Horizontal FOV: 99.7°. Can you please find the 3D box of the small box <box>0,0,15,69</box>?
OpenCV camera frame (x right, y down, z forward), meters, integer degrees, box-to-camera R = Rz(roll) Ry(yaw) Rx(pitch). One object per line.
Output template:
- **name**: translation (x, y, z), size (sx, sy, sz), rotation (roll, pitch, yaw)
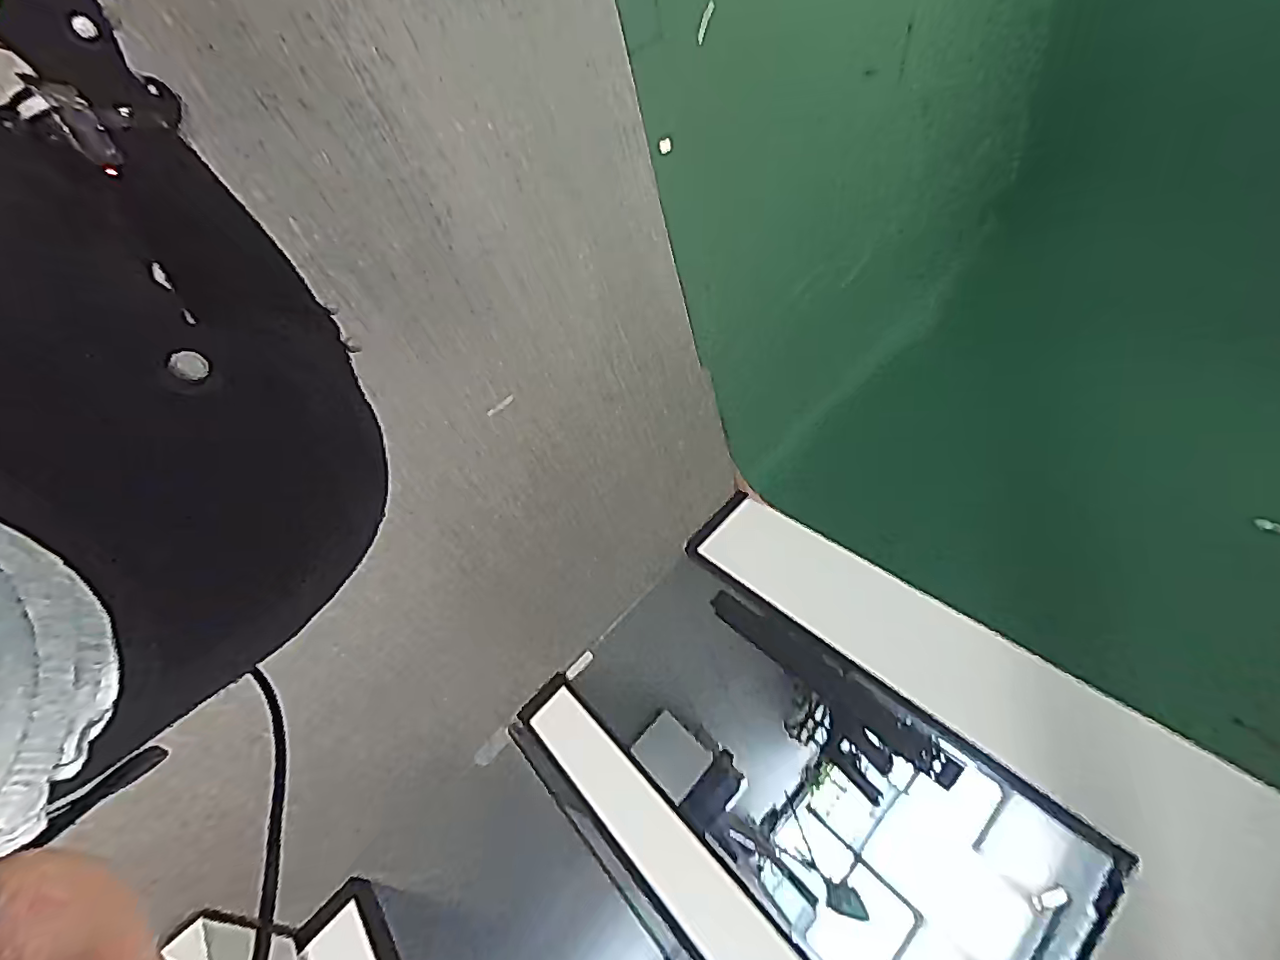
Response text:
- **small box**: translation (-0.583, -0.429, 0.384), size (0.168, 0.176, 0.179), rotation (-9, 117, -46)
